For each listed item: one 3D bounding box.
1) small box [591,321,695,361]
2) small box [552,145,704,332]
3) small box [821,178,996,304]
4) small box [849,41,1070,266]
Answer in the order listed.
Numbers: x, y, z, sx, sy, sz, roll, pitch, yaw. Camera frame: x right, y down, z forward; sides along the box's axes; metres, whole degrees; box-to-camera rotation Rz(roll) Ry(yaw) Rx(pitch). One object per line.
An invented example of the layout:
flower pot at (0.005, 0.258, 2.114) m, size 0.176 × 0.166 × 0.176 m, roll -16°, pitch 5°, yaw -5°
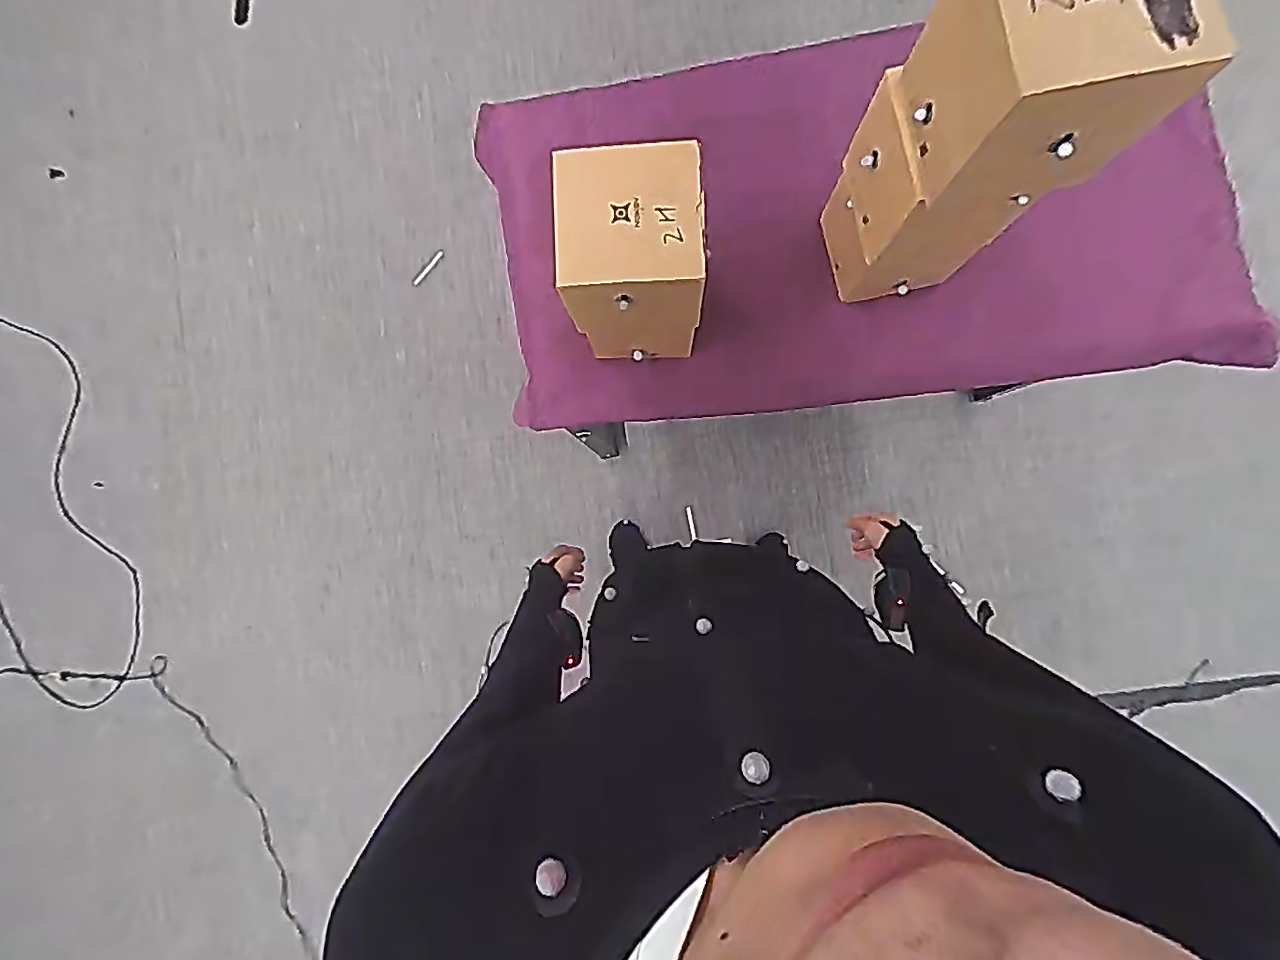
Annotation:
small box at (0.003, -0.301, 0.868) m, size 0.168 × 0.176 × 0.179 m, roll 1°, pitch 88°, yaw 3°
small box at (-0.010, -0.299, 0.704) m, size 0.179 × 0.176 × 0.168 m, roll -2°, pitch 87°, yaw 3°
small box at (0.410, -0.401, 0.854) m, size 0.179 × 0.176 × 0.168 m, roll -11°, pitch 84°, yaw 1°
small box at (0.385, -0.398, 0.692) m, size 0.179 × 0.176 × 0.168 m, roll -11°, pitch 85°, yaw 2°
